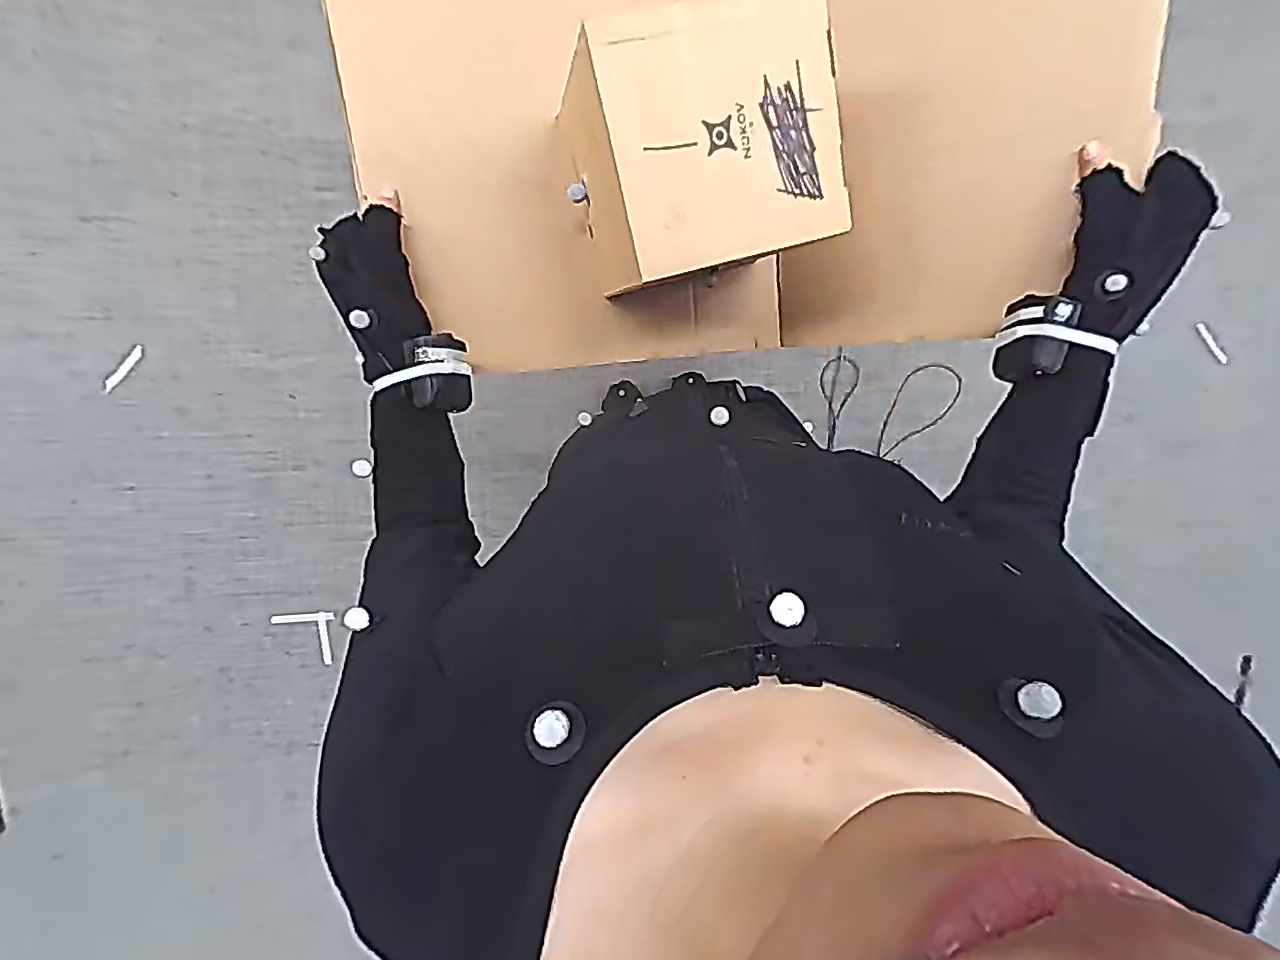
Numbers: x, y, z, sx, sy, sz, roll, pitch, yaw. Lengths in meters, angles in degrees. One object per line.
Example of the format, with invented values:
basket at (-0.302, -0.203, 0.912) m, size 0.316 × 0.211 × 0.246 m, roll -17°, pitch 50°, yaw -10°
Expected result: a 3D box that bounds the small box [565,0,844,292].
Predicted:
small box at (0.045, -0.269, 0.468) m, size 0.179 × 0.176 × 0.168 m, roll -17°, pitch 108°, yaw -9°
